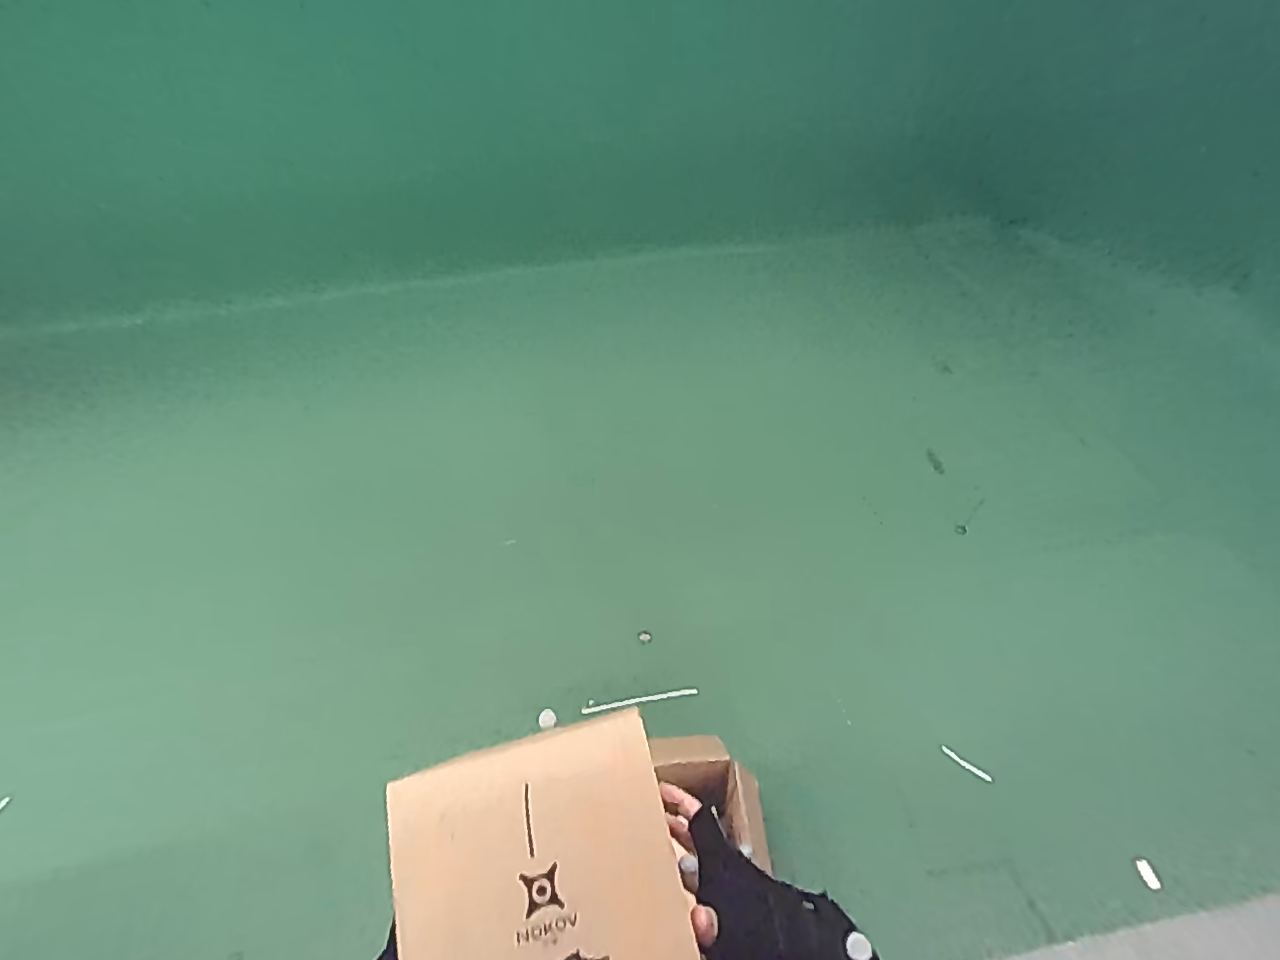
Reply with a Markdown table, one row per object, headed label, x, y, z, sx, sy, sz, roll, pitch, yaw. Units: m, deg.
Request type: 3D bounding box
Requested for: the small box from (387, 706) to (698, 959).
| label | x | y | z | sx | sy | sz | roll | pitch | yaw |
| --- | --- | --- | --- | --- | --- | --- | --- | --- | --- |
| small box | -0.059 | 0.275 | 0.389 | 0.168 | 0.176 | 0.179 | -13 | 69 | -7 |
